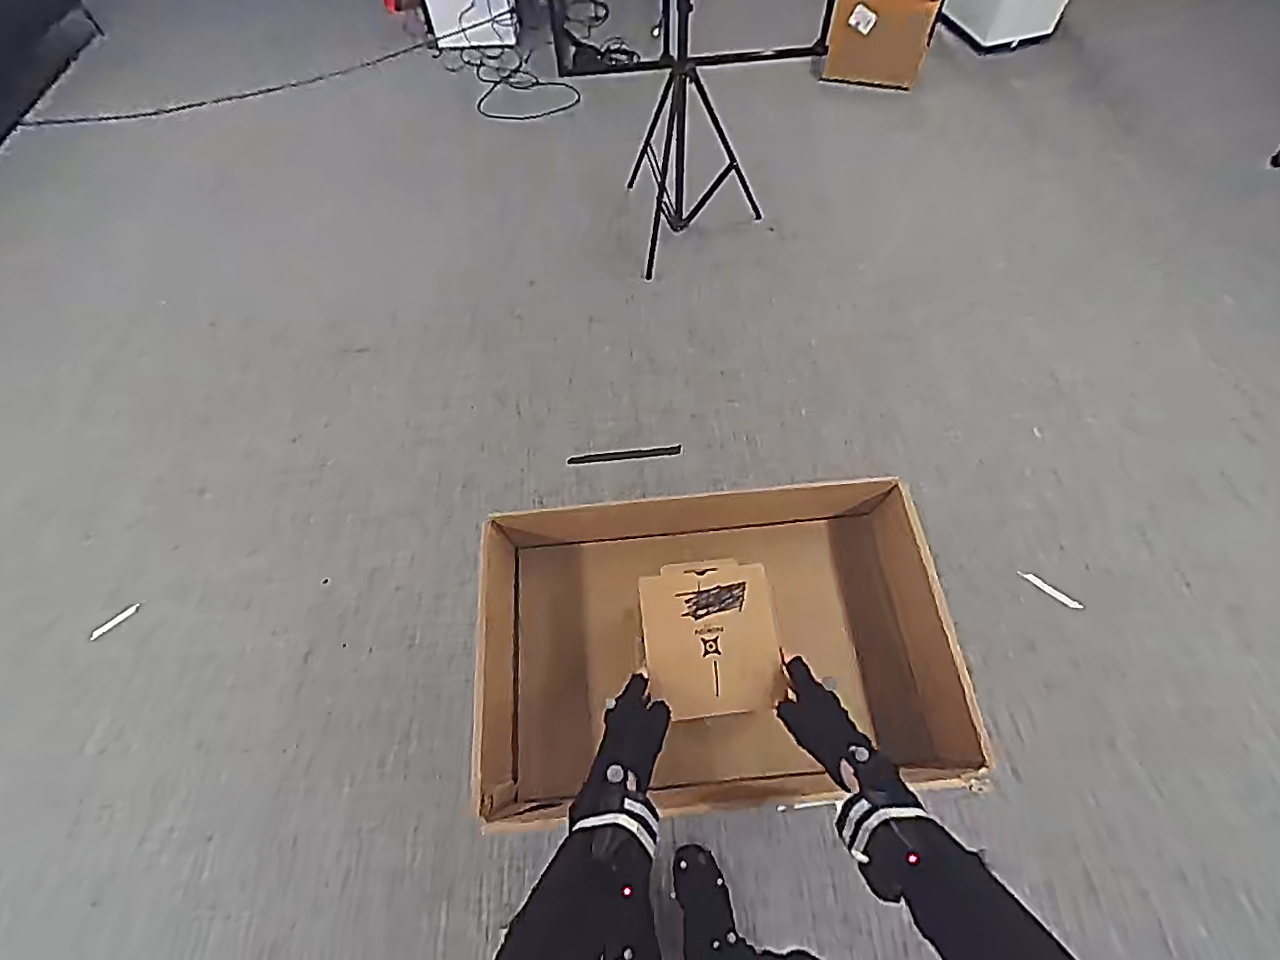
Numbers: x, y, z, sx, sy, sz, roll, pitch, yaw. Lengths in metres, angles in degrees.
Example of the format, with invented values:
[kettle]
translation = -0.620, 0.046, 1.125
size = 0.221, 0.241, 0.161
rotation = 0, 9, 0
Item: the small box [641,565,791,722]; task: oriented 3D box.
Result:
[small box]
translation = 0.091, 0.228, 0.742
size = 0.168, 0.176, 0.179
rotation = -7, 68, -1
